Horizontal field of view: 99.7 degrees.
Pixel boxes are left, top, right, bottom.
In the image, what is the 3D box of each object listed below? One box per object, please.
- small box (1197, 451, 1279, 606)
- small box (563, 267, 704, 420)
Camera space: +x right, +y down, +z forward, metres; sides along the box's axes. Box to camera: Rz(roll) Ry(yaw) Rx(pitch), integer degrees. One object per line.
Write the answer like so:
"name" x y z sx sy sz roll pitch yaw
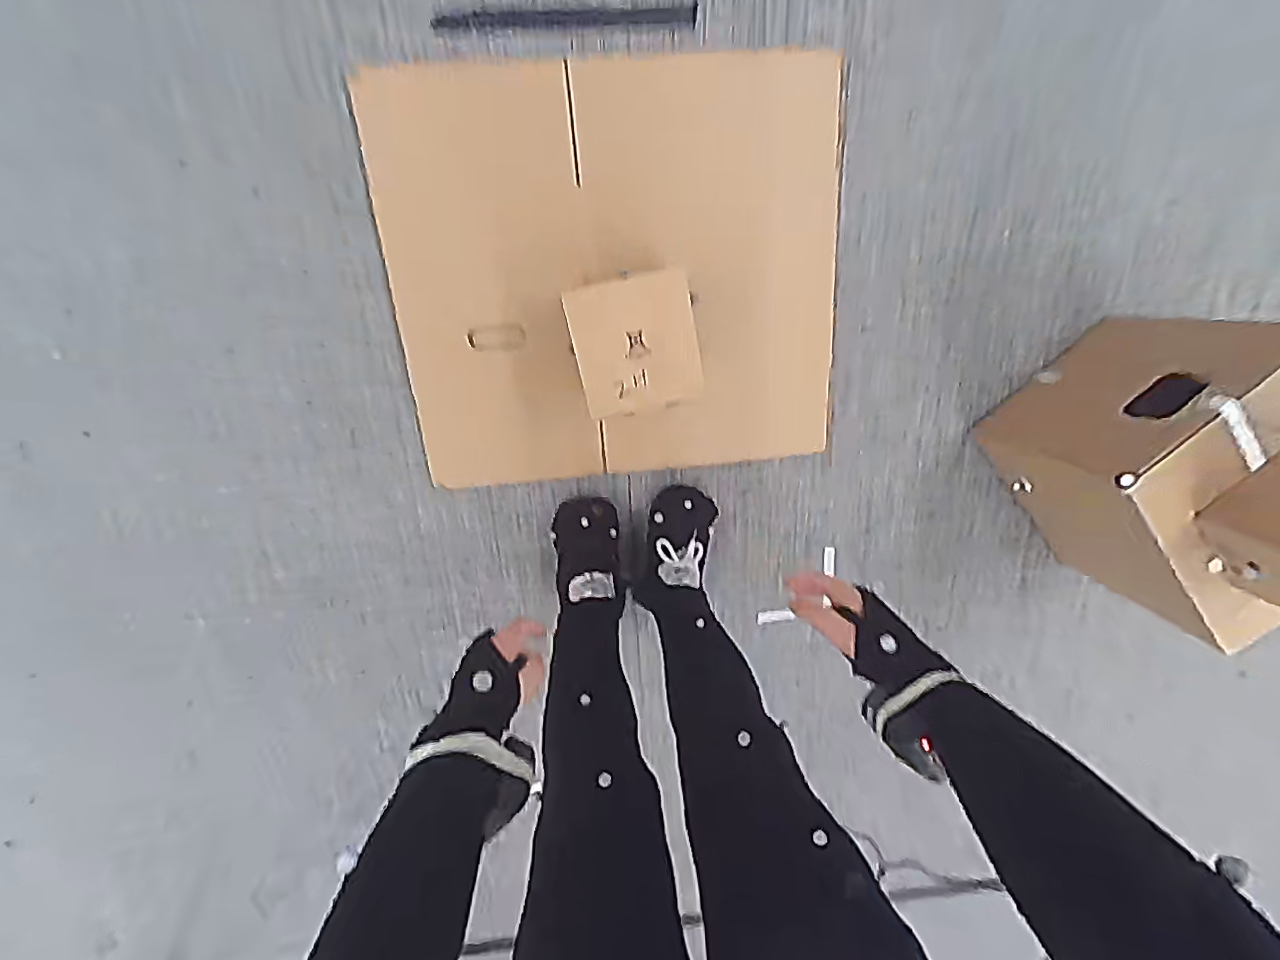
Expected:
"small box" 0.877 0.069 0.671 0.179 0.176 0.168 -43 107 9
"small box" -0.012 -0.204 0.800 0.168 0.176 0.179 -13 109 1
